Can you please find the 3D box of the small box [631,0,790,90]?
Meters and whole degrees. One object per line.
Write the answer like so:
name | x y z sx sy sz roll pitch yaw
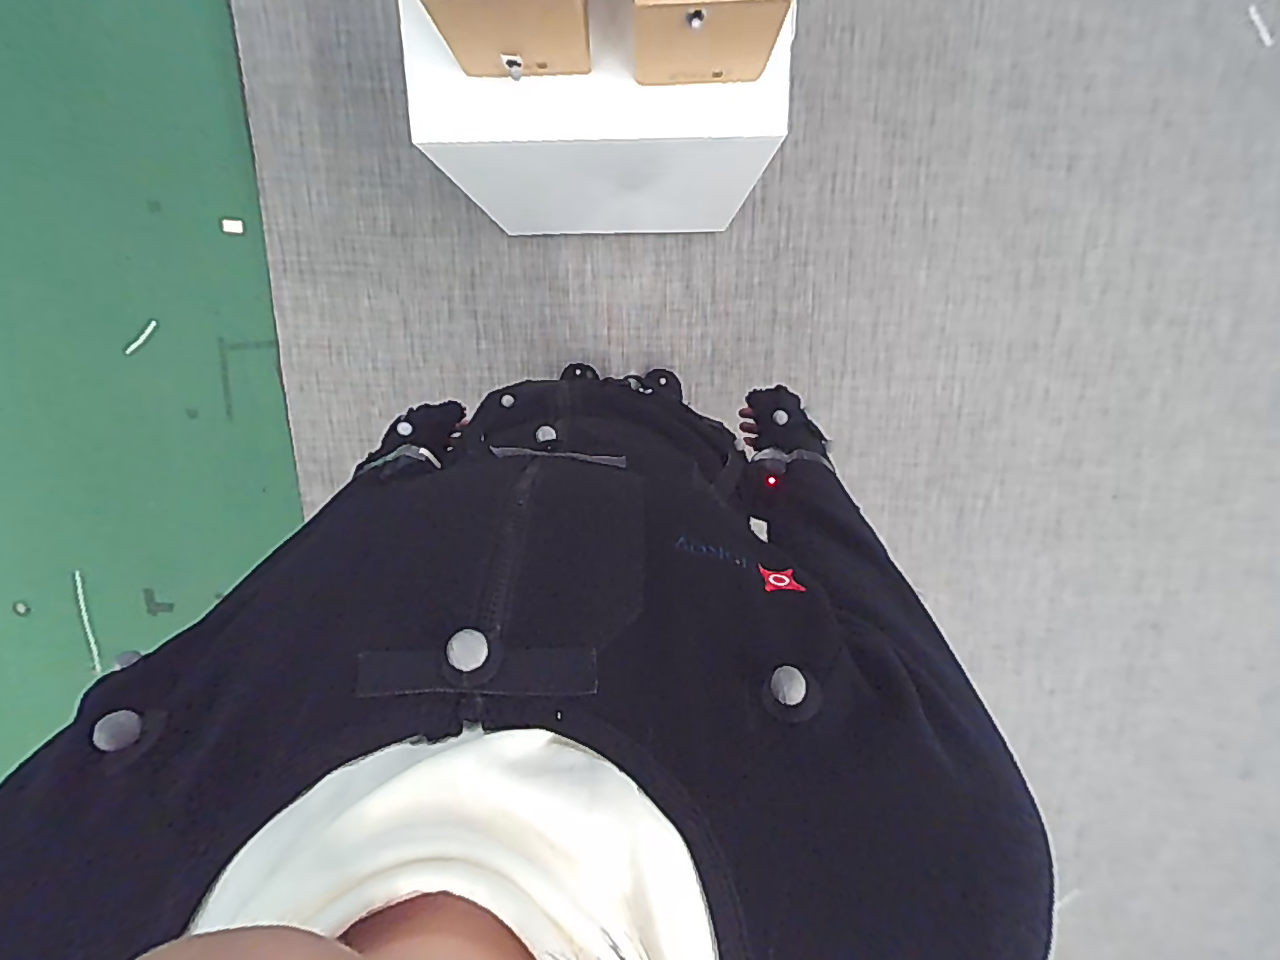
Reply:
small box | 0.073 -0.591 0.622 0.168 0.176 0.179 -1 101 0

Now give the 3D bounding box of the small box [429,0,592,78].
small box | -0.147 -0.596 0.609 0.168 0.176 0.179 -3 103 2
